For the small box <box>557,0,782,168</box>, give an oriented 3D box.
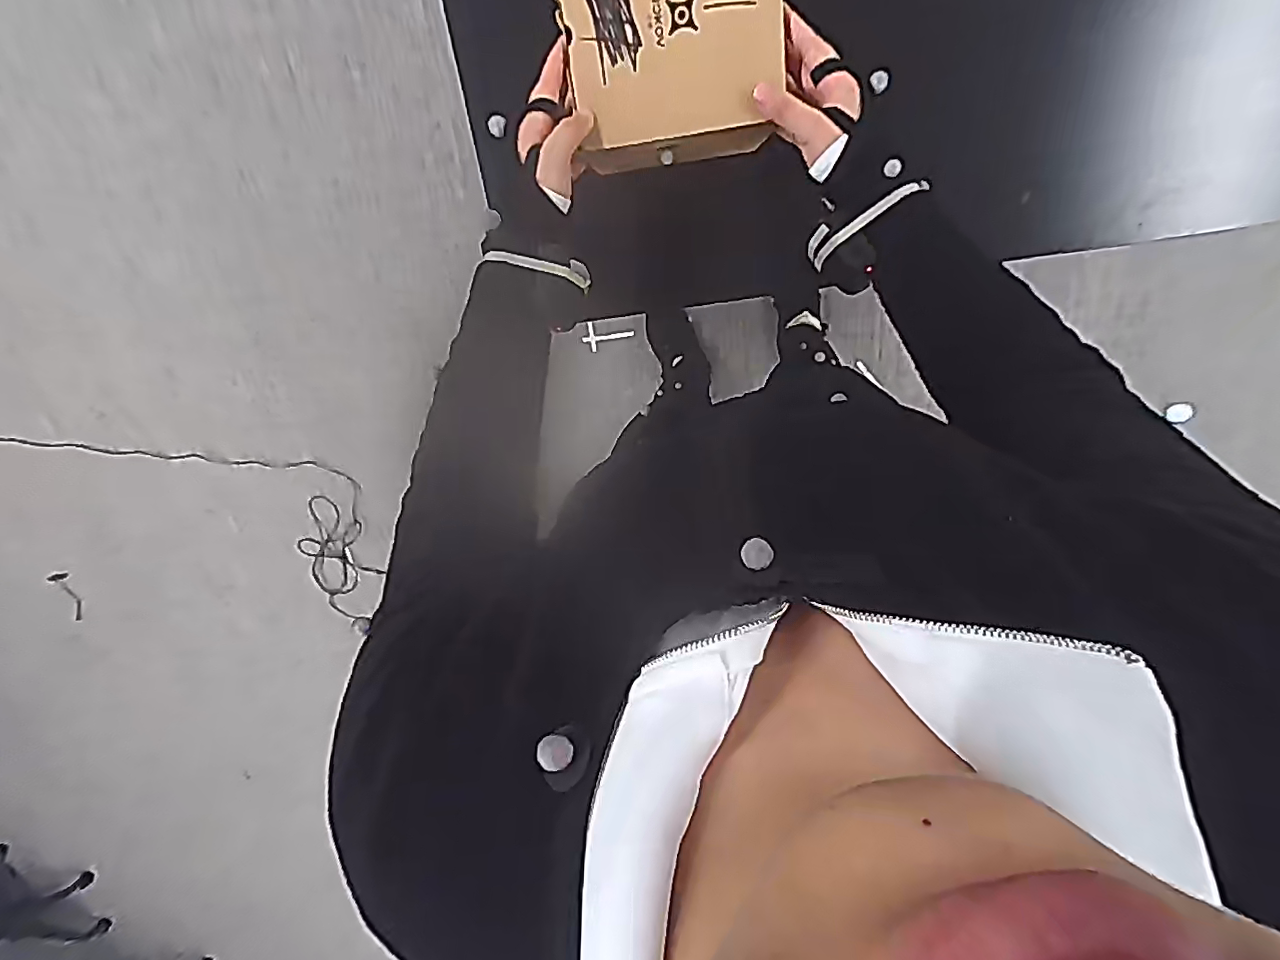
[{"bbox_3d":[0.026,-0.399,0.497,0.179,0.176,0.168,-6,114,4],"label":"small box"}]
